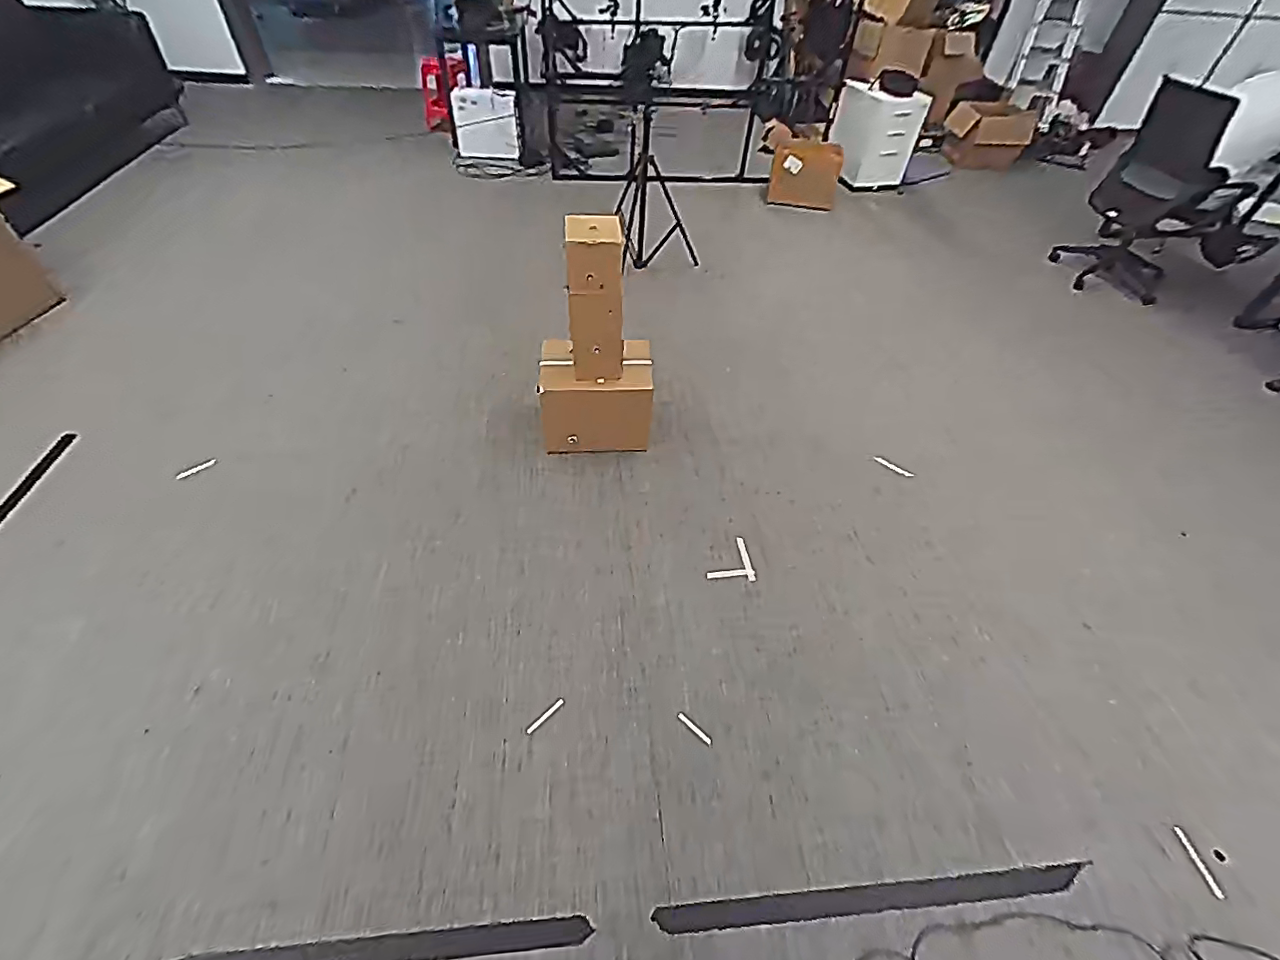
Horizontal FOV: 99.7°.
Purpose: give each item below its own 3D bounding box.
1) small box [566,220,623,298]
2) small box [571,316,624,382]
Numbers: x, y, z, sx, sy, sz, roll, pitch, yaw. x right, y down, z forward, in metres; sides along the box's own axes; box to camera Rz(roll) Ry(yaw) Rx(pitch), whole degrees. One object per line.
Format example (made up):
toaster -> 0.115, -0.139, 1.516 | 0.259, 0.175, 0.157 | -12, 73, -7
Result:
small box -> -0.144, -0.686, 1.677 | 0.168, 0.176, 0.179 | -3, 50, -6
small box -> -0.150, -0.461, 1.915 | 0.179, 0.176, 0.168 | -3, 49, -7
